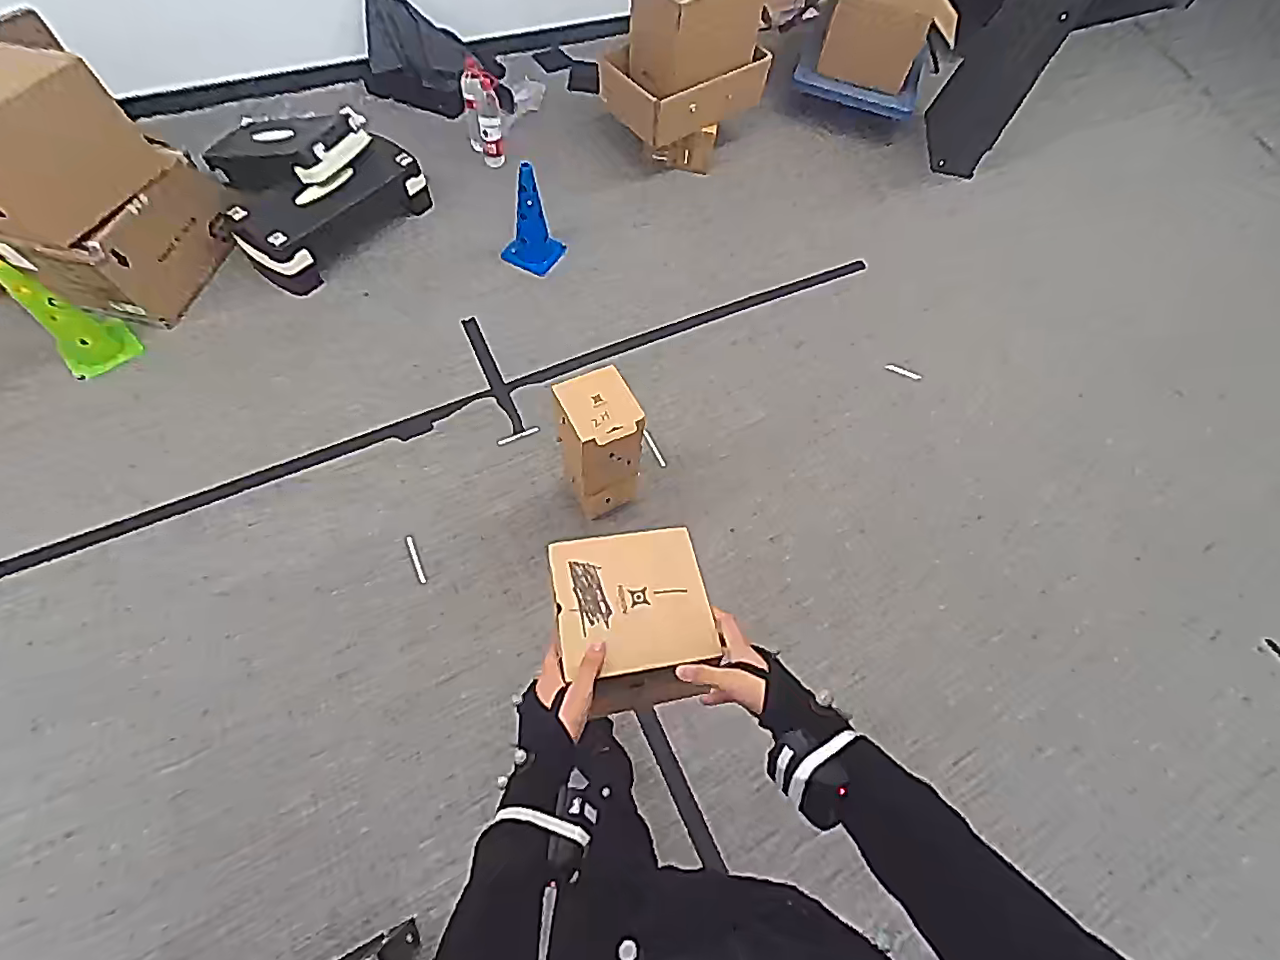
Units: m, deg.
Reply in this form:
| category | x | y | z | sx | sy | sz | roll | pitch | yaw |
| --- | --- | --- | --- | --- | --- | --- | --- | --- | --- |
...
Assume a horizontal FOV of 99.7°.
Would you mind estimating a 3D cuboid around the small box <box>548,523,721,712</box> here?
| category | x | y | z | sx | sy | sz | roll | pitch | yaw |
| --- | --- | --- | --- | --- | --- | --- | --- | --- | --- |
| small box | -0.011 | 0.177 | 0.681 | 0.179 | 0.176 | 0.168 | -9 | 56 | -7 |

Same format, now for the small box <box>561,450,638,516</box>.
| category | x | y | z | sx | sy | sz | roll | pitch | yaw |
| --- | --- | --- | --- | --- | --- | --- | --- | --- | --- |
| small box | -0.122 | -0.012 | 1.626 | 0.168 | 0.176 | 0.179 | -27 | 69 | -17 |

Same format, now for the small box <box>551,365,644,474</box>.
| category | x | y | z | sx | sy | sz | roll | pitch | yaw |
| --- | --- | --- | --- | --- | --- | --- | --- | --- | --- |
| small box | -0.108 | -0.144 | 1.322 | 0.168 | 0.176 | 0.179 | -23 | 68 | -17 |
